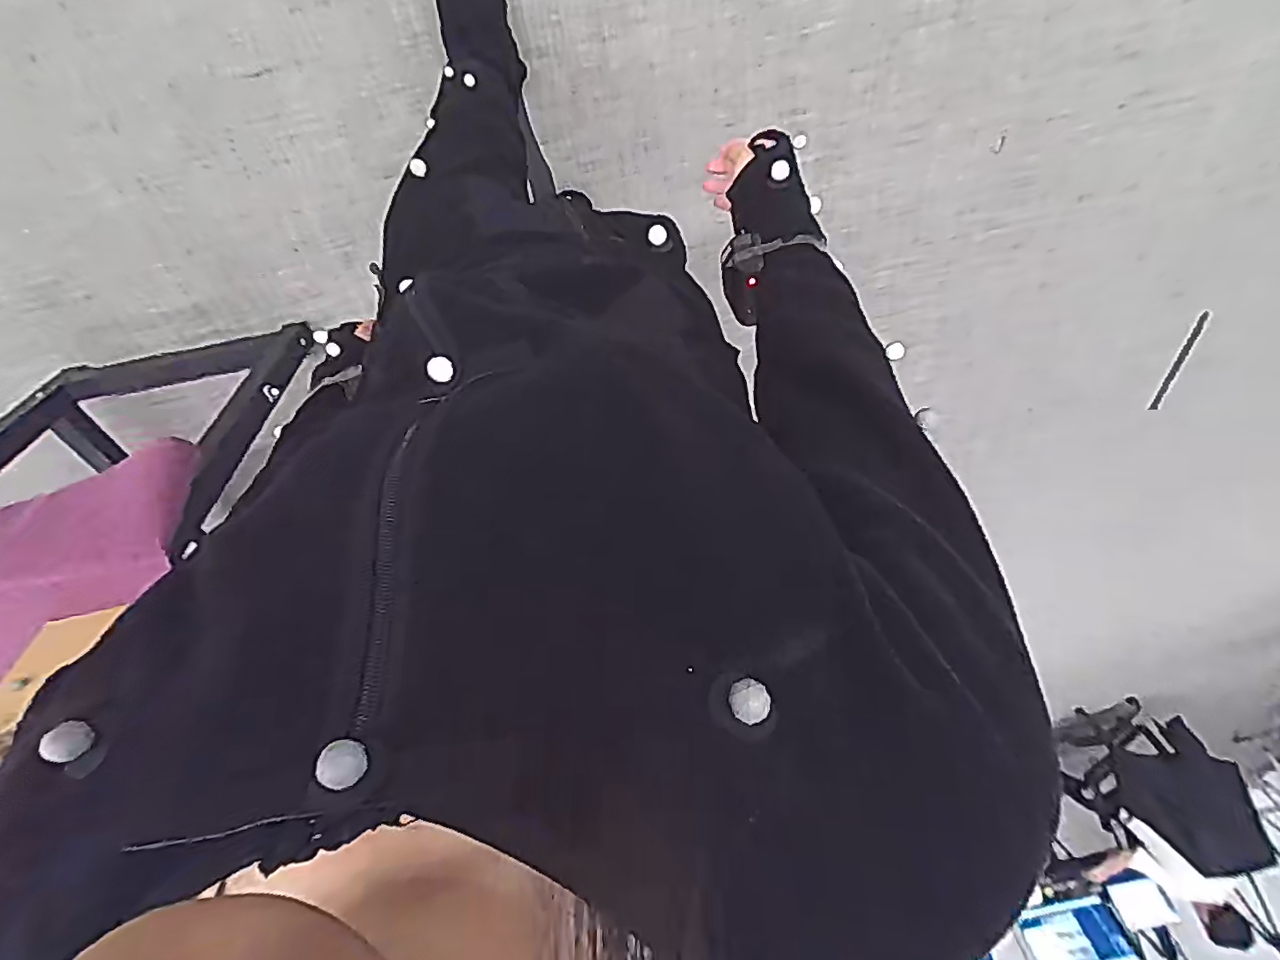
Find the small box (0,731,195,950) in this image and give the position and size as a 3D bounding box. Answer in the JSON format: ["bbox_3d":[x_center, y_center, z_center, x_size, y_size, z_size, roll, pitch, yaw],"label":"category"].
[{"bbox_3d":[-0.683,0.417,0.630,0.168,0.176,0.179,-10,133,-2],"label":"small box"}]

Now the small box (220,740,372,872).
[{"bbox_3d":[-0.653,0.626,1.051,0.168,0.176,0.179,-11,132,-2],"label":"small box"}]
